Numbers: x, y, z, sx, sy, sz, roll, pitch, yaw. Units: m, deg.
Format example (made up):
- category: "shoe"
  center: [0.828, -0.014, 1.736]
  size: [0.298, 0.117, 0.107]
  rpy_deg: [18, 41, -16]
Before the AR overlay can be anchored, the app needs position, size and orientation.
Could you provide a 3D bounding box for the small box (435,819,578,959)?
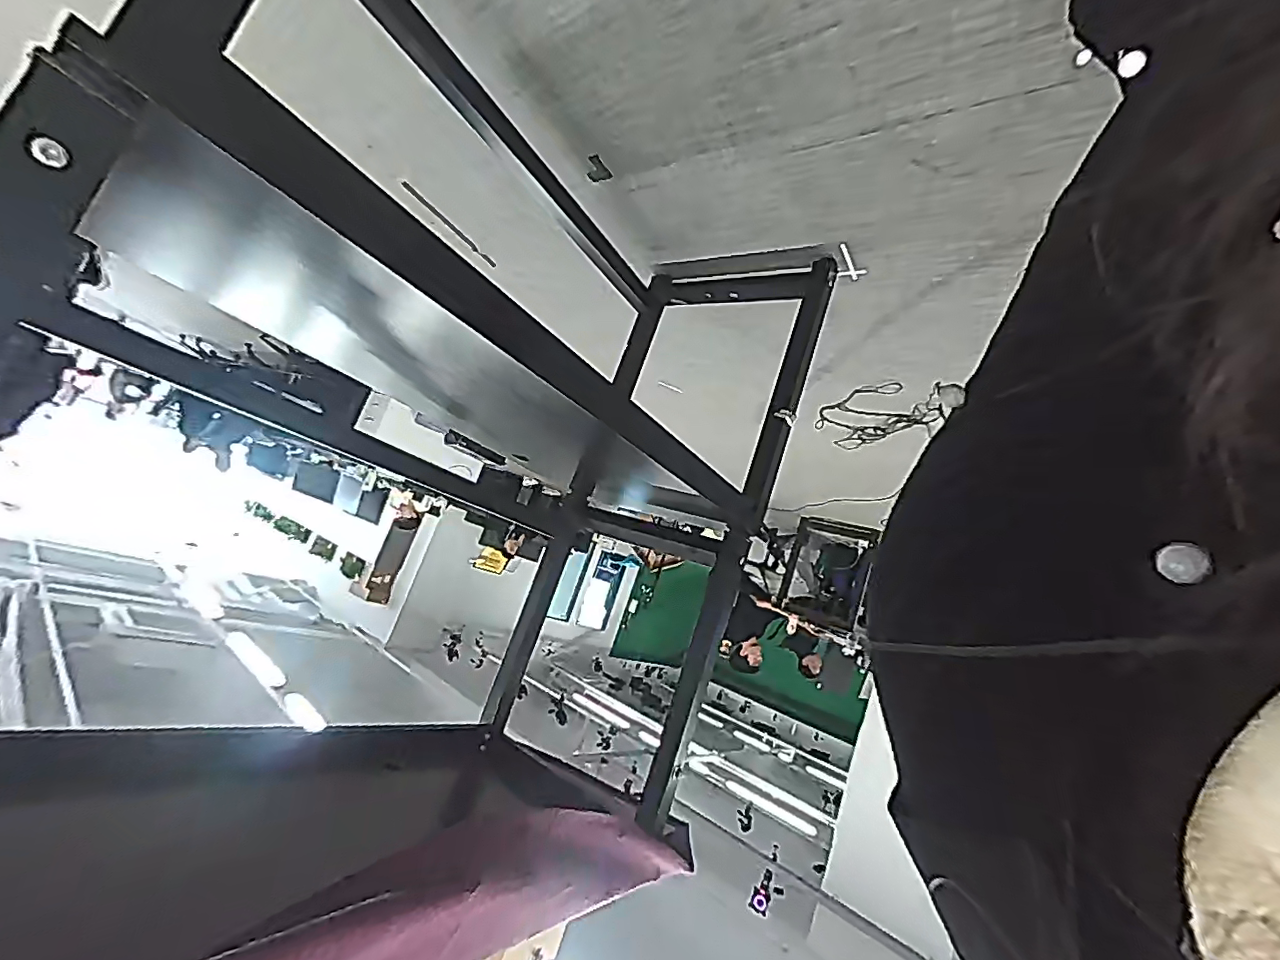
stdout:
- category: "small box"
  center: [-0.249, 0.781, 1.030]
  size: [0.179, 0.176, 0.168]
  rpy_deg: [12, 167, 39]
